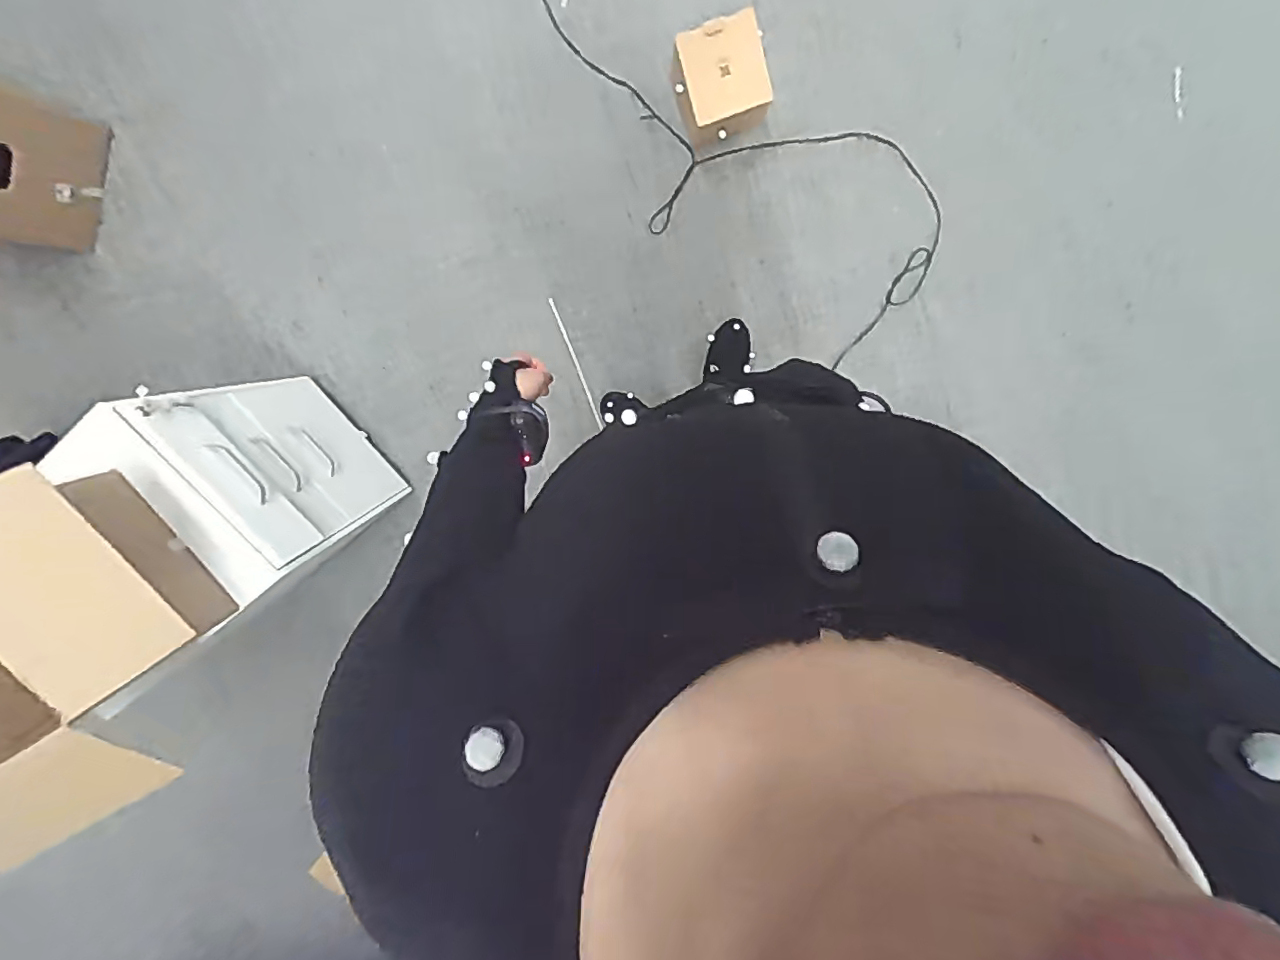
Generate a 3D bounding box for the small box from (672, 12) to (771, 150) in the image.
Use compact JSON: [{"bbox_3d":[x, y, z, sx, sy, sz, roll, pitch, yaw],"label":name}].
[{"bbox_3d":[0.173,-0.855,1.184,0.168,0.176,0.179,-17,103,6],"label":"small box"}]
